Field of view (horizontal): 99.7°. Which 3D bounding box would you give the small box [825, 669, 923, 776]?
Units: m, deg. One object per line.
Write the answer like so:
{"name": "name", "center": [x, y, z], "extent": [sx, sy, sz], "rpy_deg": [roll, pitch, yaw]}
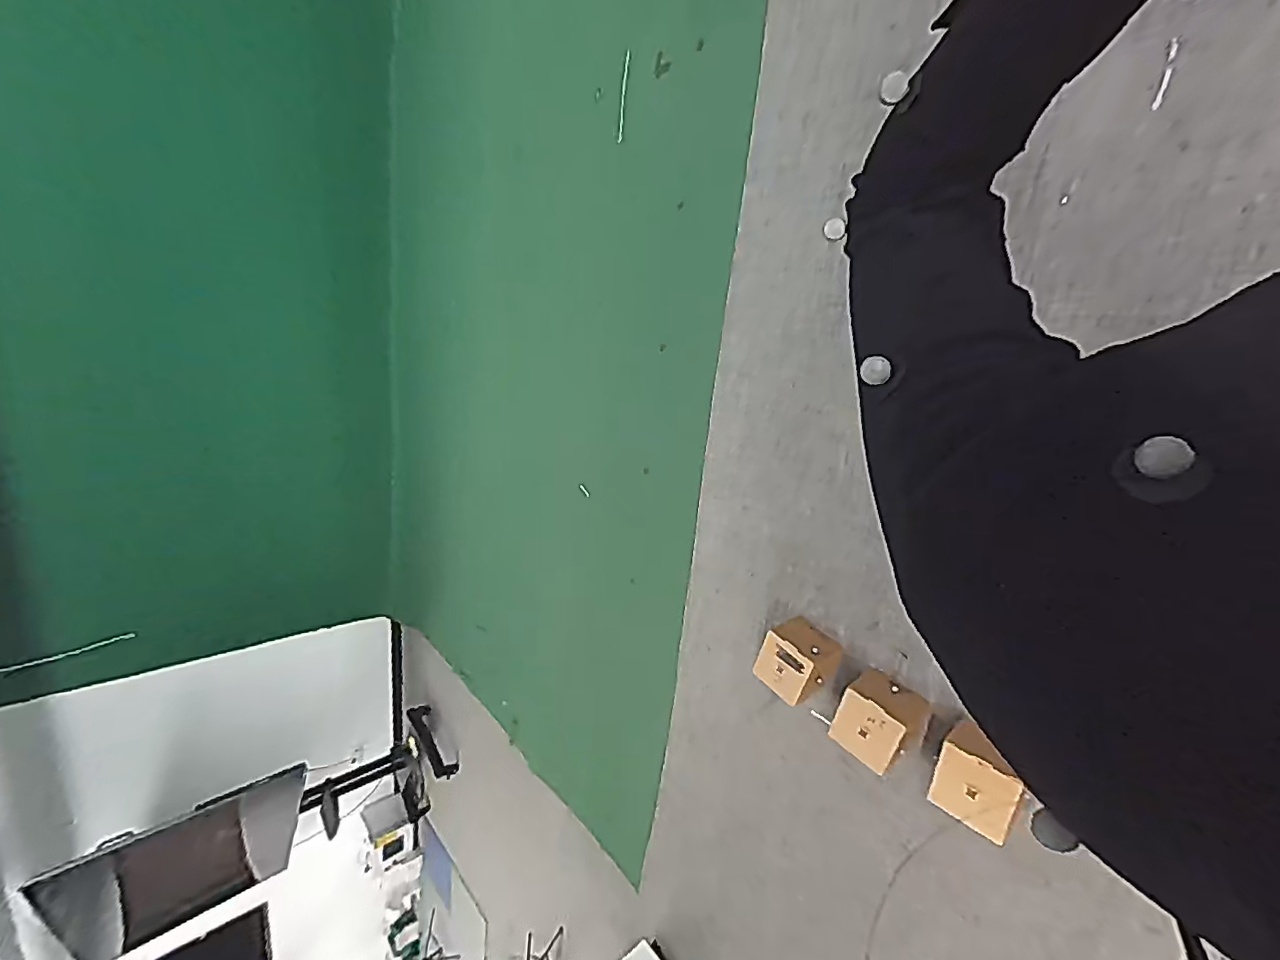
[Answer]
{"name": "small box", "center": [0.645, 0.658, 1.487], "extent": [0.168, 0.176, 0.179], "rpy_deg": [31, 116, 40]}

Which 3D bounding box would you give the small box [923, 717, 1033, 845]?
{"name": "small box", "center": [0.820, 0.717, 1.308], "extent": [0.168, 0.176, 0.179], "rpy_deg": [21, 109, 44]}
